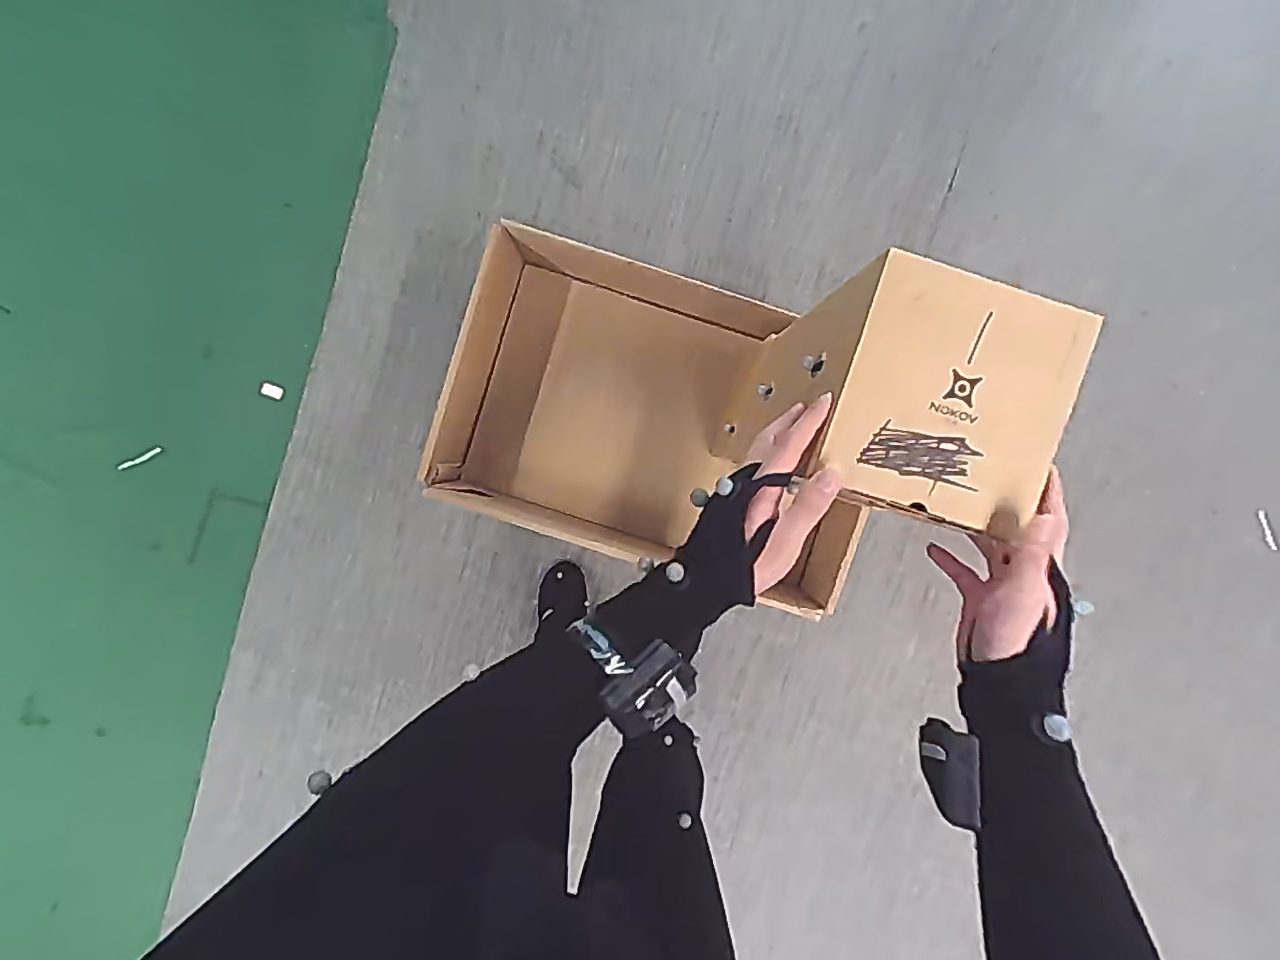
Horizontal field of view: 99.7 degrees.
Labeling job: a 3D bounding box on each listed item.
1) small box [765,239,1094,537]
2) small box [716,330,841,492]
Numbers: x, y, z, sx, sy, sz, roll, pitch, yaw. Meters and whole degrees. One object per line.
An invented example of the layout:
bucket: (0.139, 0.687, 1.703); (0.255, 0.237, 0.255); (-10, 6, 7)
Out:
small box: (0.221, -0.069, 0.468); (0.168, 0.176, 0.179); (18, 93, -2)
small box: (0.220, -0.097, 0.795); (0.168, 0.176, 0.179); (18, 94, -1)
